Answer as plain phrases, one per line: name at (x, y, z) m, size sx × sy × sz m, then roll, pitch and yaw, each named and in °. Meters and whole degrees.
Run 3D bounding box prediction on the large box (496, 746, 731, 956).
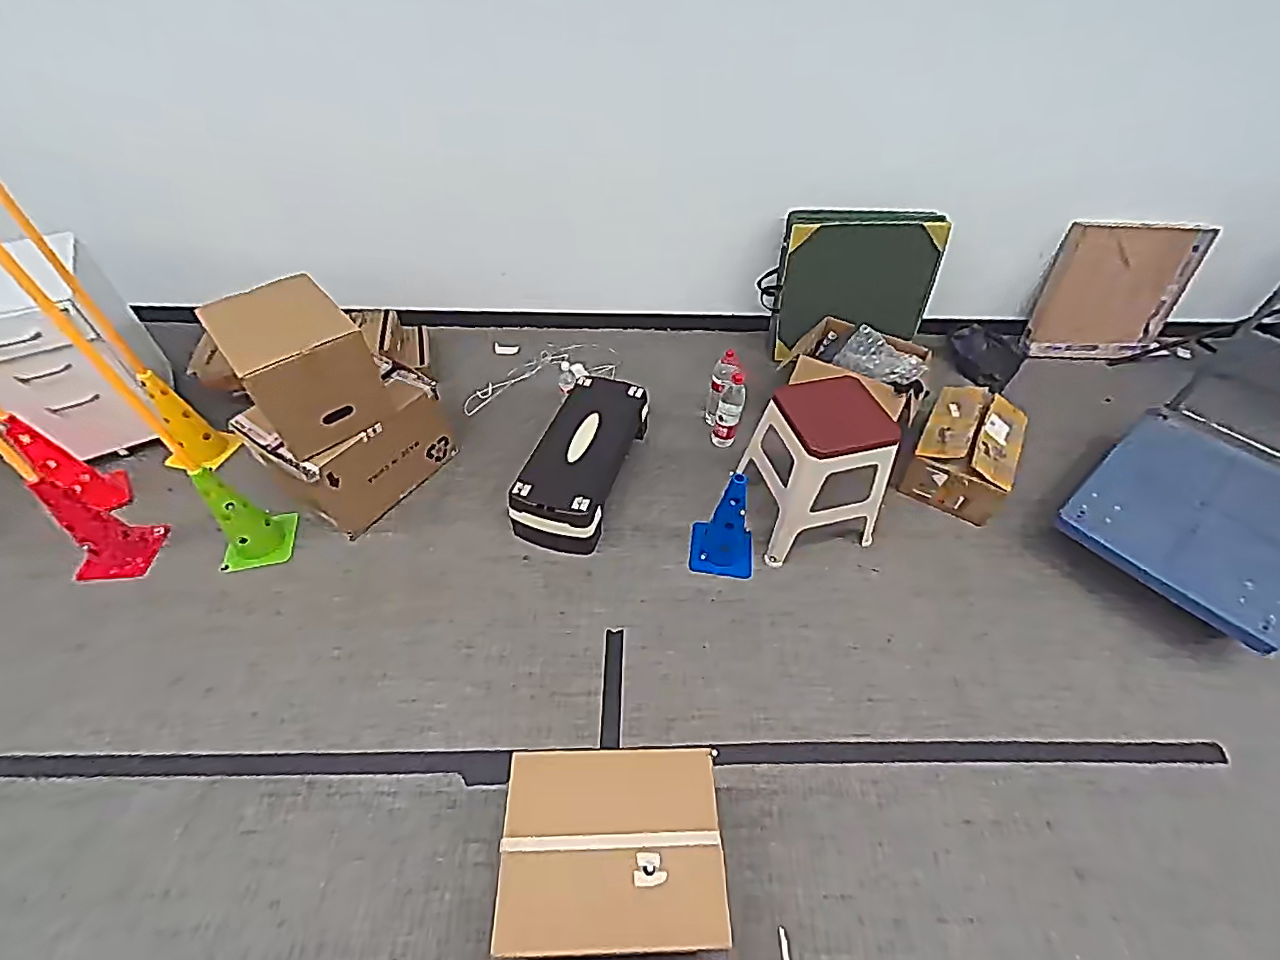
large box at (-0.057, 0.760, 1.110) m, size 0.408 × 0.320 × 0.320 m, roll 1°, pitch 49°, yaw -3°
